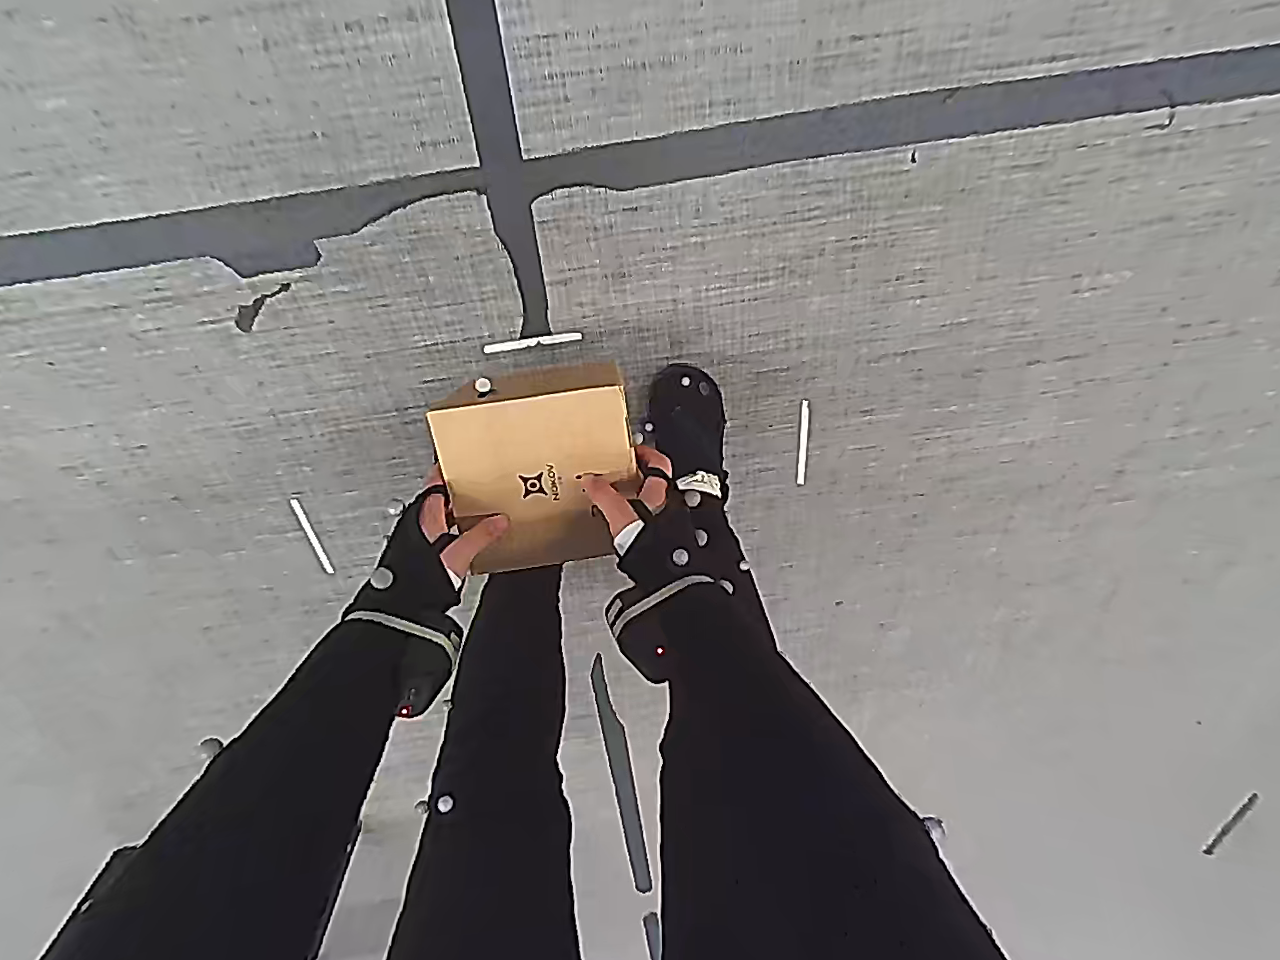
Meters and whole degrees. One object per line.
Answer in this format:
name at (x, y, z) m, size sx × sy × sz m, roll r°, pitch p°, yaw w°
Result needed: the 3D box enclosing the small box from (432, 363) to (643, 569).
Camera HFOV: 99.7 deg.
small box at (-0.096, -0.025, 0.580) m, size 0.179 × 0.176 × 0.168 m, roll -8°, pitch 111°, yaw -2°
